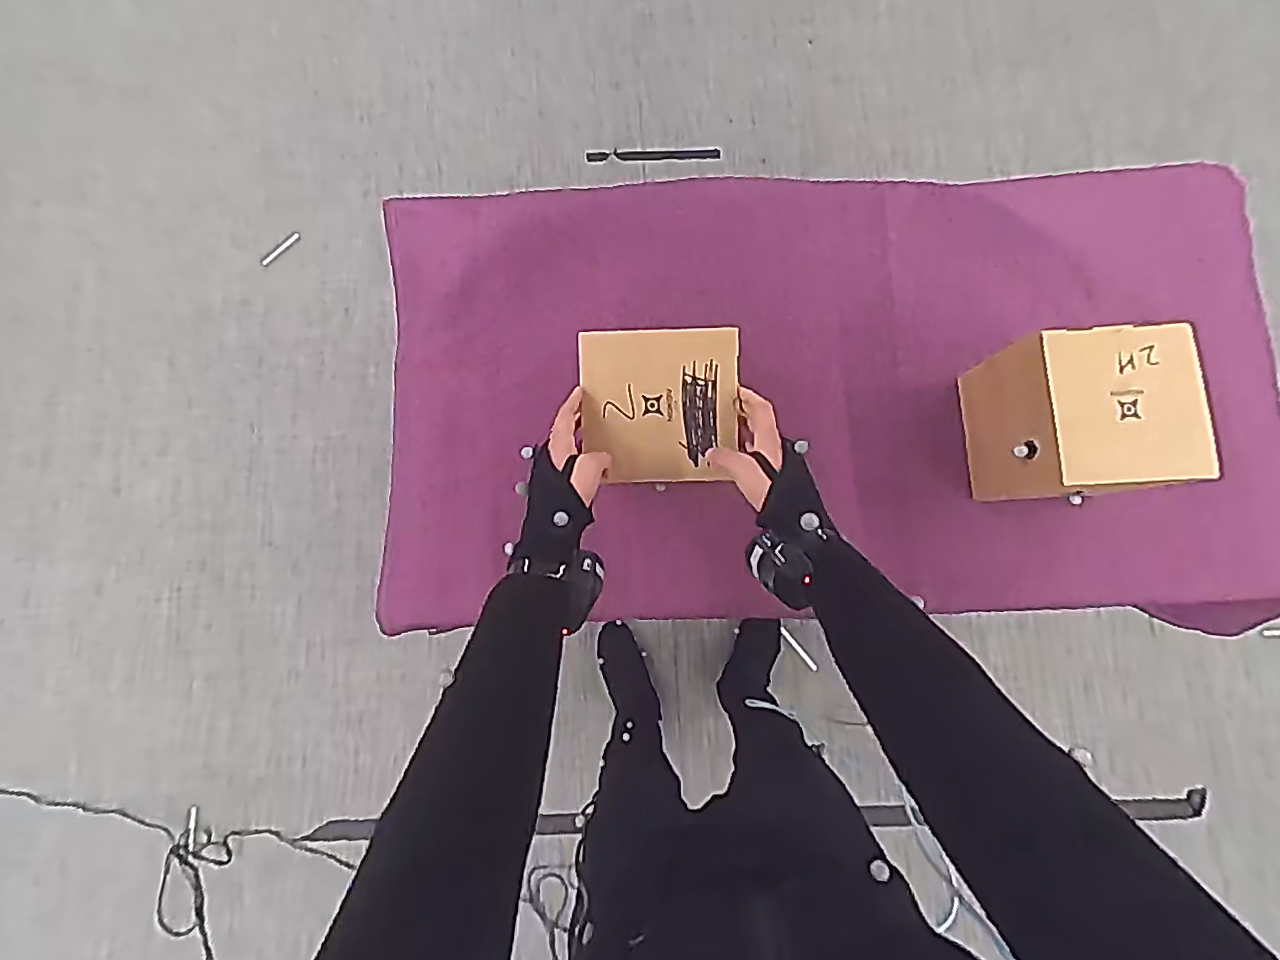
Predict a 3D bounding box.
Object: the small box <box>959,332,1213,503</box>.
[{"bbox_3d":[0.526,-0.064,0.666,0.168,0.176,0.179,-2,82,1],"label":"small box"}]
